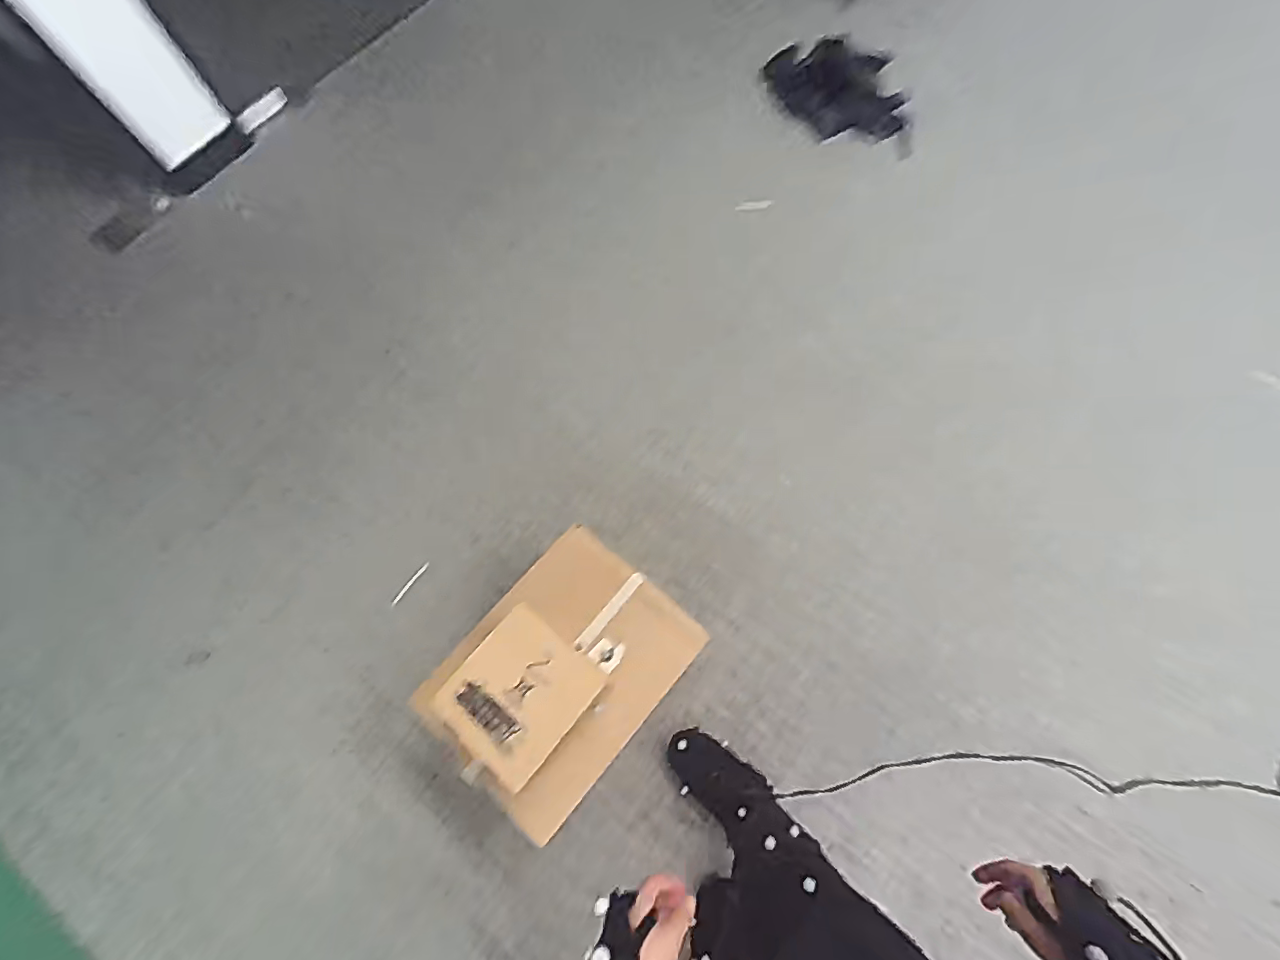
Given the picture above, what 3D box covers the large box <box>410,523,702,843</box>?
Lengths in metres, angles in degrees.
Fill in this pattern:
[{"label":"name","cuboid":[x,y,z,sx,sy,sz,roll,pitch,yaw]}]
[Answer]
[{"label":"large box","cuboid":[-0.132,0.363,1.022,0.320,0.320,0.408,38,74,14]}]
